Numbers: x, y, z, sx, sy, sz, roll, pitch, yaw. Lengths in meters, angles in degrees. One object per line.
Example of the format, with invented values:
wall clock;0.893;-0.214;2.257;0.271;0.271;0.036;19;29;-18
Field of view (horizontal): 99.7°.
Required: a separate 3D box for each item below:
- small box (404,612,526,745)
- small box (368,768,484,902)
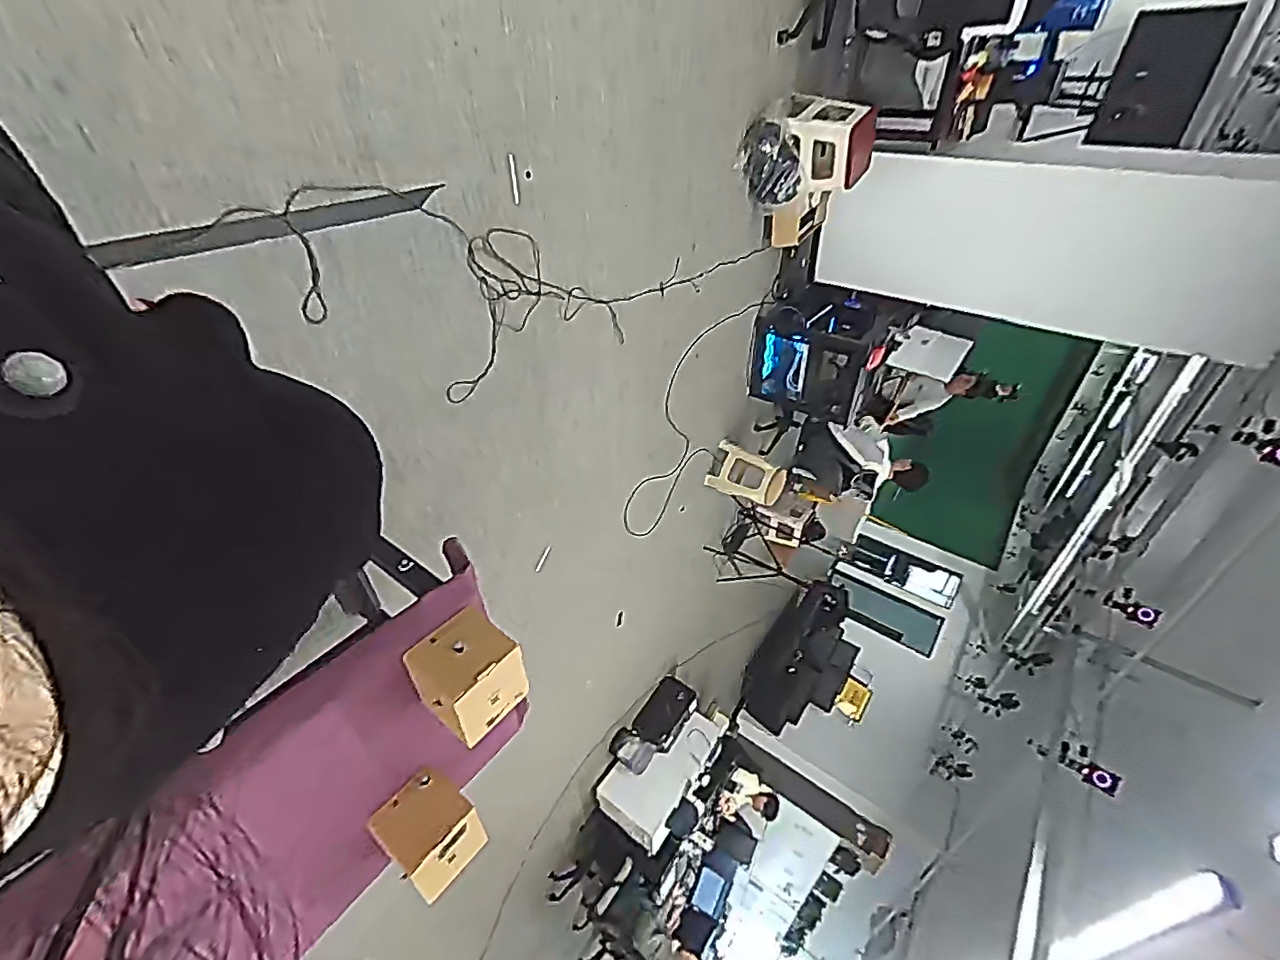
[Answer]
small box;-0.367;0.405;1.138;0.168;0.176;0.179;-38;141;-39
small box;-0.488;0.799;1.236;0.168;0.176;0.179;-37;140;-40
